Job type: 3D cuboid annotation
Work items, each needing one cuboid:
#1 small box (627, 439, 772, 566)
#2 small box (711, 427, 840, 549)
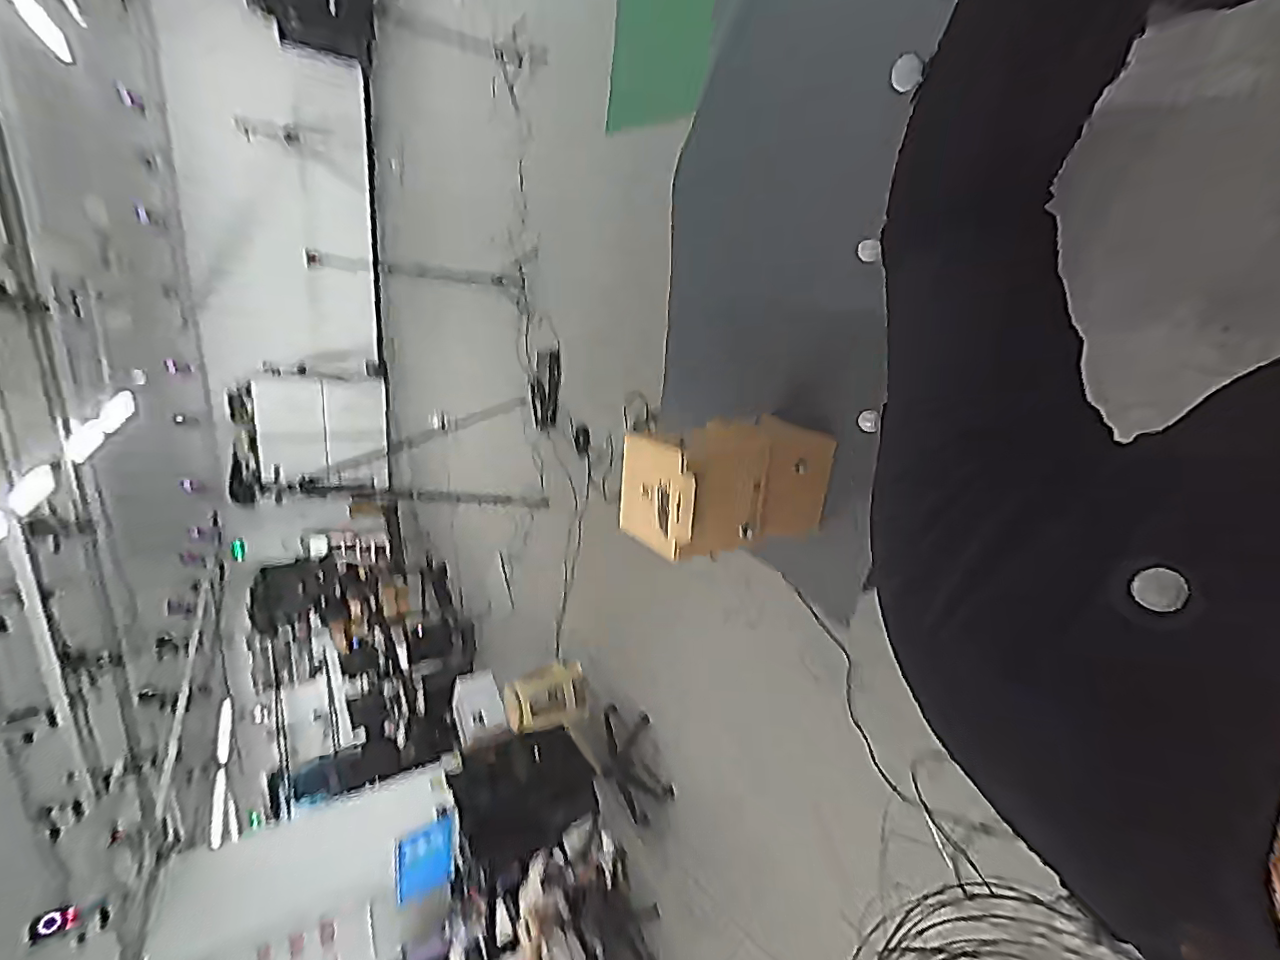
[{"bbox_3d":[0.096,0.025,0.894,0.179,0.176,0.168,24,114,57],"label":"small box"},{"bbox_3d":[0.235,0.003,0.979,0.168,0.176,0.179,30,120,54],"label":"small box"}]
